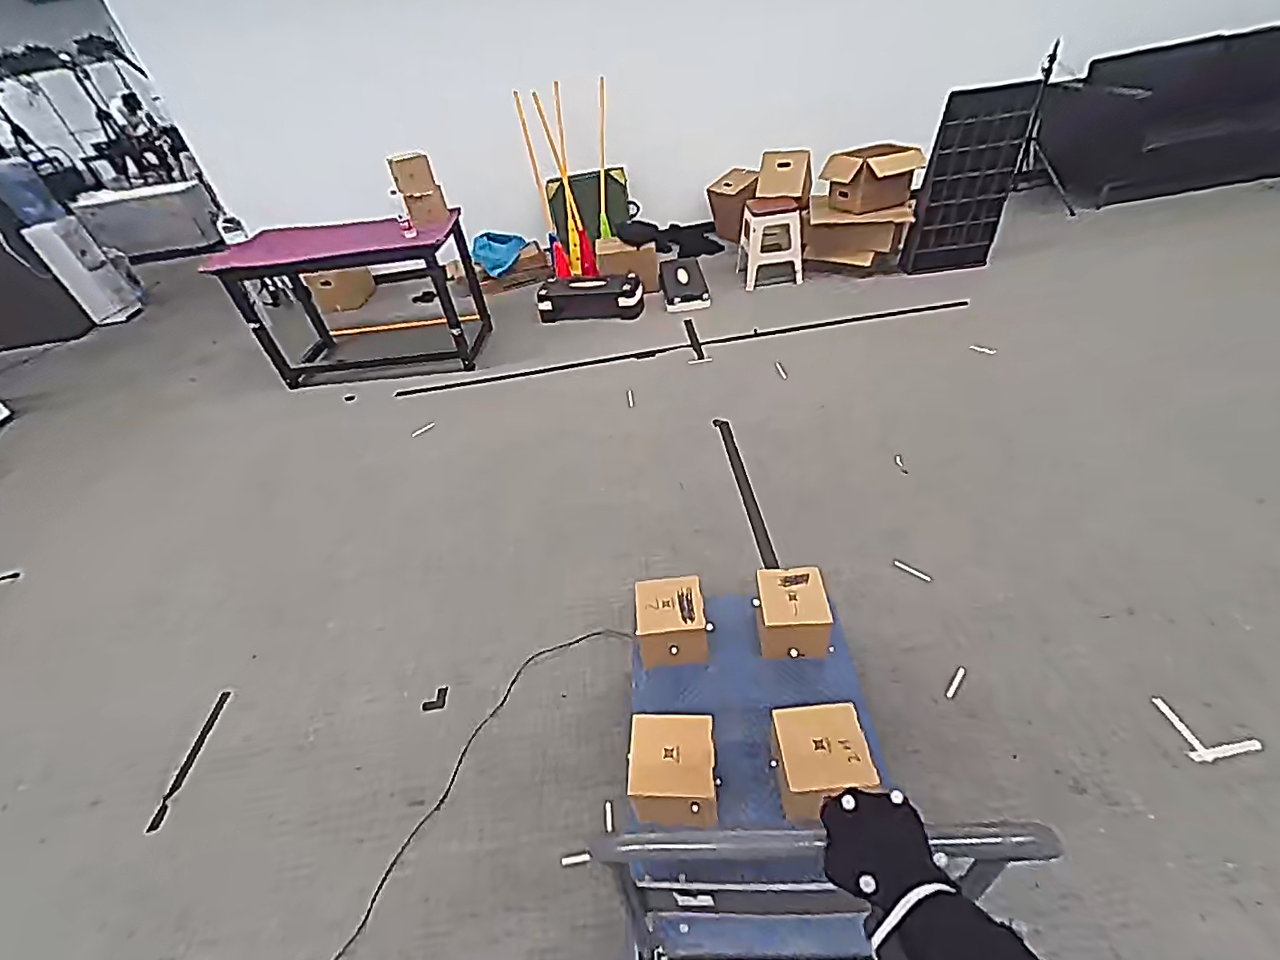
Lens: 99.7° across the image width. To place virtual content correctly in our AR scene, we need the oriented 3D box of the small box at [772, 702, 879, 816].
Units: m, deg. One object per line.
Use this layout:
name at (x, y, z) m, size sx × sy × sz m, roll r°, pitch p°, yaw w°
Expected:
small box at (0.384, 0.598, 1.155) m, size 0.179 × 0.176 × 0.168 m, roll -6°, pitch 41°, yaw 3°

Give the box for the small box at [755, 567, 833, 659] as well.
small box at (0.399, 0.352, 1.436) m, size 0.168 × 0.176 × 0.179 m, roll -4°, pitch 42°, yaw 5°

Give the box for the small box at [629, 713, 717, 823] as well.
small box at (0.077, 0.628, 1.178) m, size 0.179 × 0.176 × 0.168 m, roll -2°, pitch 41°, yaw 6°
